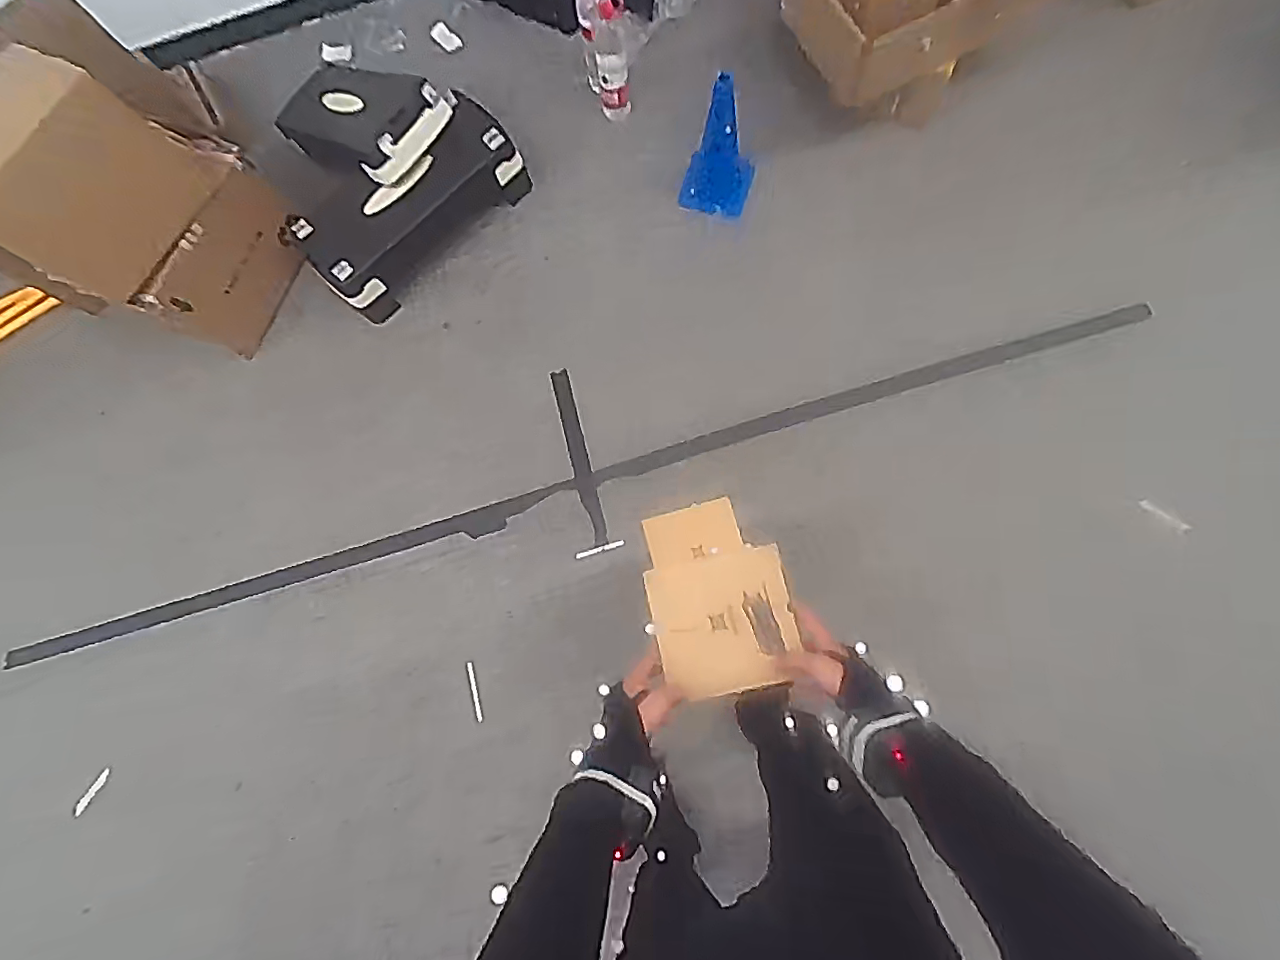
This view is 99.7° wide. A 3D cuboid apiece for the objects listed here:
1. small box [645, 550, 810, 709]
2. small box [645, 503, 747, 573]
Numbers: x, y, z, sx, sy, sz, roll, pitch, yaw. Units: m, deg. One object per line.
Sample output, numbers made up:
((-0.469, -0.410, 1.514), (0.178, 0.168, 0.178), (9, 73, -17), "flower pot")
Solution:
((0.110, 0.198, 0.743), (0.179, 0.176, 0.168), (-13, 77, 1), "small box")
((0.113, 0.159, 1.030), (0.168, 0.176, 0.179), (-16, 78, 1), "small box")
